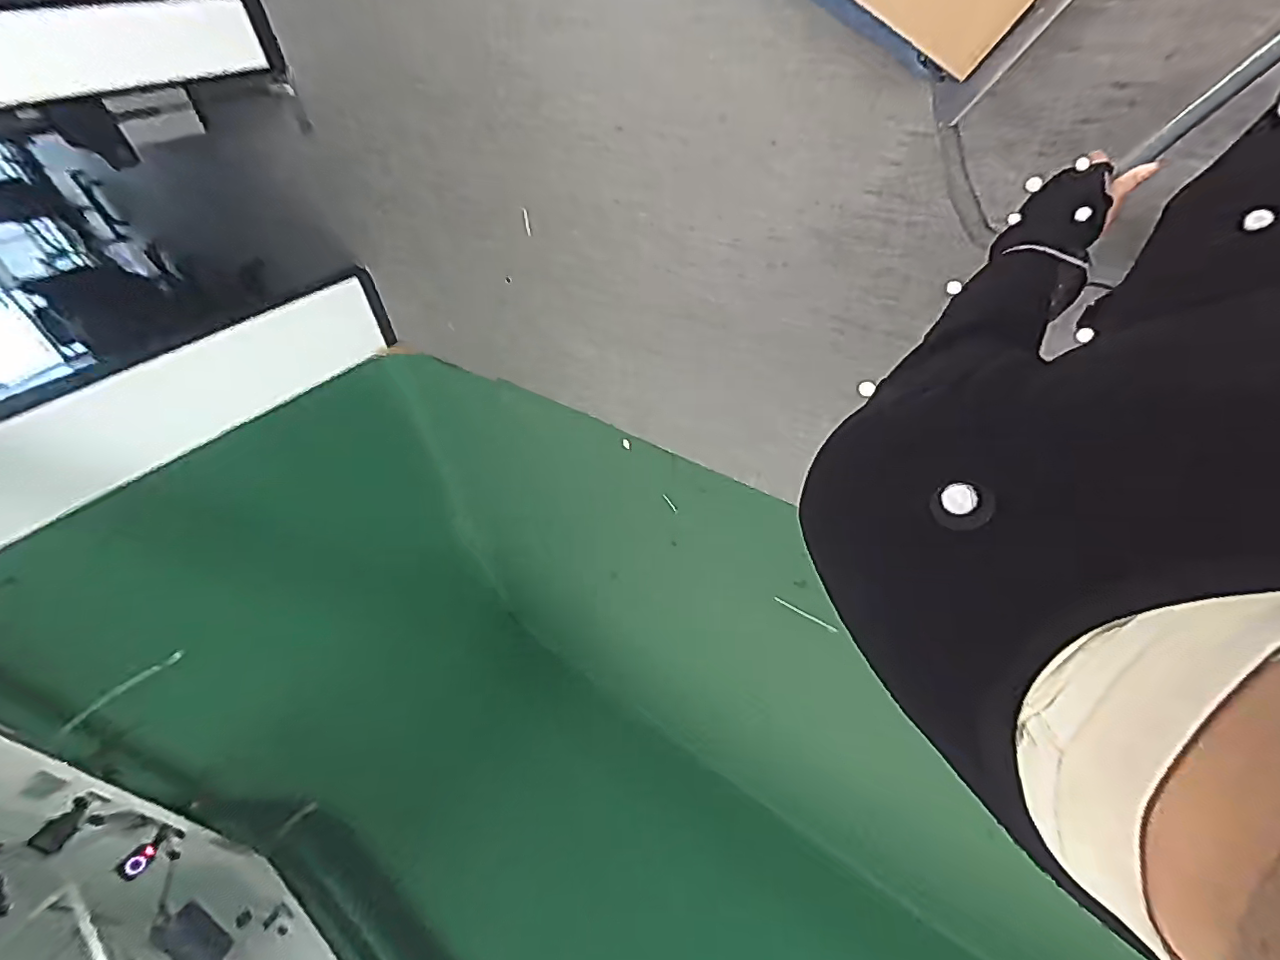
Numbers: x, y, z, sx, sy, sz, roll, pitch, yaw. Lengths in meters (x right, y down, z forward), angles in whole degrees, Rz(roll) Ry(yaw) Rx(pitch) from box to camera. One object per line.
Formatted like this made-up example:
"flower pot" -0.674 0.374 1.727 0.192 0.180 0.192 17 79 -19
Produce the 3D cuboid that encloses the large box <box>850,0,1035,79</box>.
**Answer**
"large box" 0.444 -0.898 0.778 0.408 0.320 0.320 27 145 -10
